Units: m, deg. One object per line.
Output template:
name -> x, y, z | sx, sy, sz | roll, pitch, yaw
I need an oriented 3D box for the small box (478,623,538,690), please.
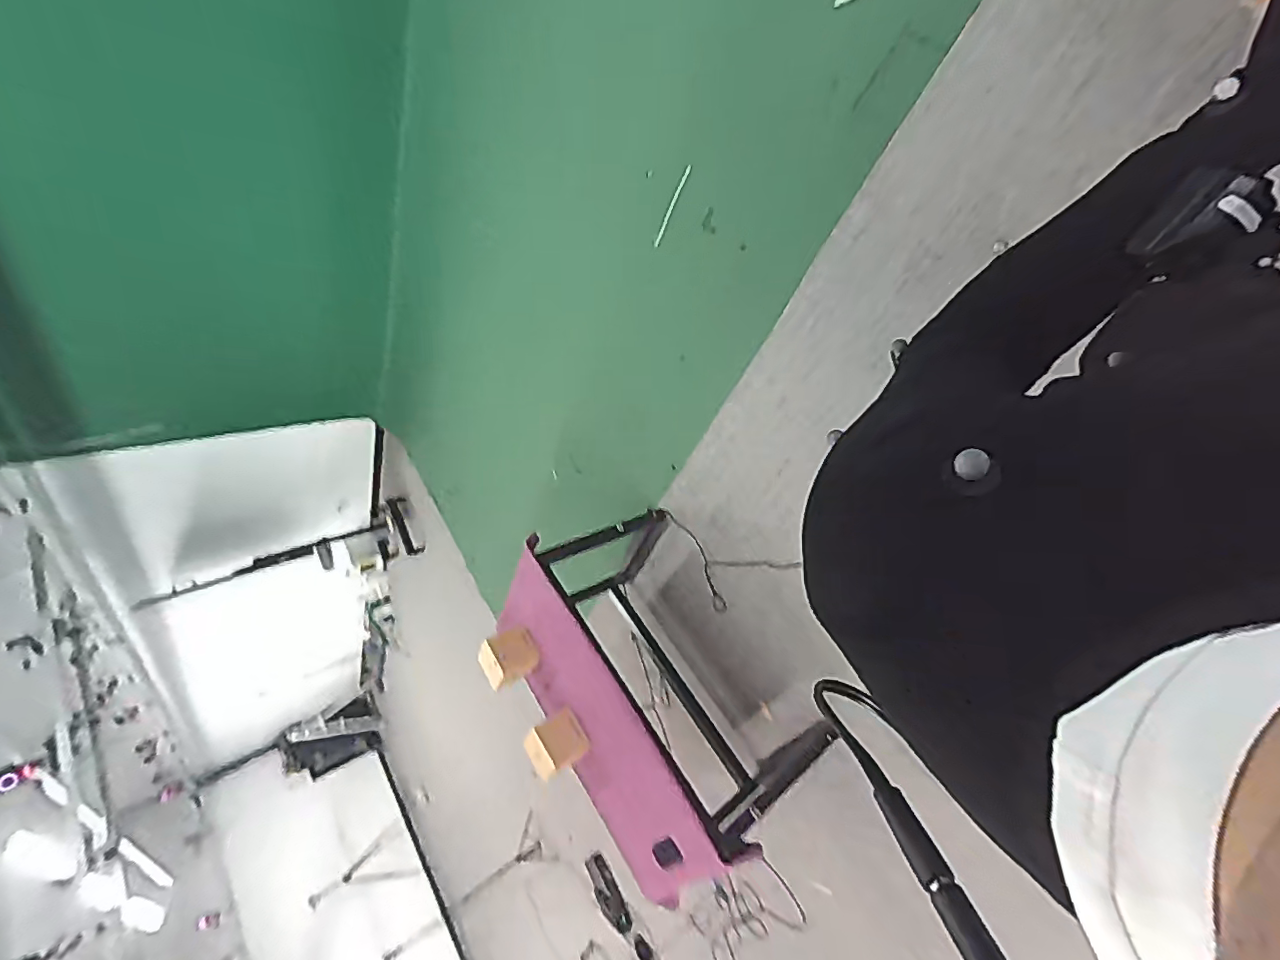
small box -> -0.539, 0.718, 2.206 | 0.168, 0.176, 0.179 | 52, 136, 23

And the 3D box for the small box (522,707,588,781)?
small box -> -0.320, 0.998, 2.048 | 0.168, 0.176, 0.179 | 51, 135, 24
